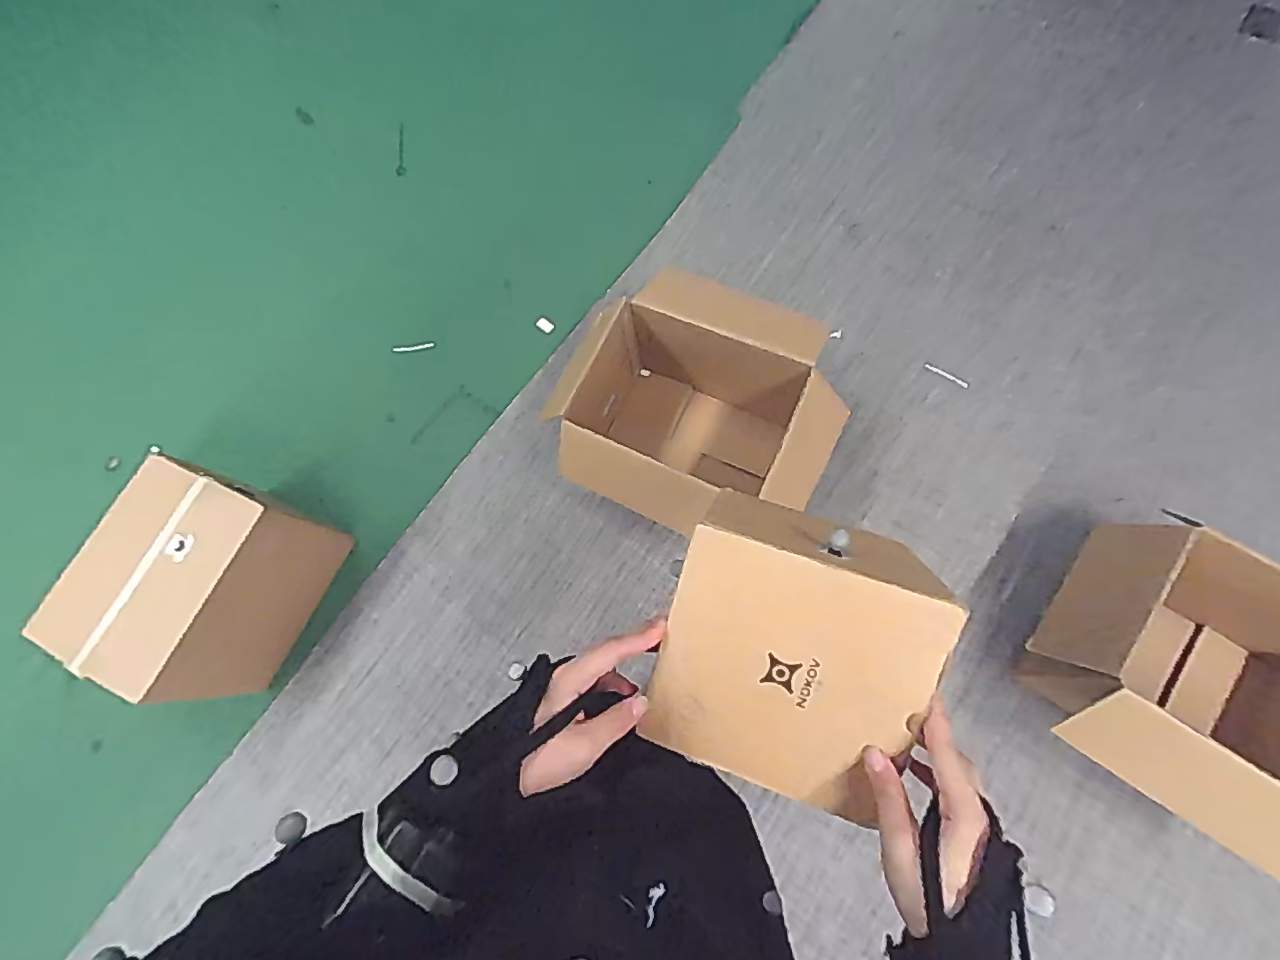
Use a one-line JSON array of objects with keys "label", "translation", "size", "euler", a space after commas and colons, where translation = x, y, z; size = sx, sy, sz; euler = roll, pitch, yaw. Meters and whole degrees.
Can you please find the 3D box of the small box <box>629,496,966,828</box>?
[{"label": "small box", "translation": [0.112, 0.117, 0.431], "size": [0.179, 0.176, 0.168], "euler": [18, 100, 10]}]
